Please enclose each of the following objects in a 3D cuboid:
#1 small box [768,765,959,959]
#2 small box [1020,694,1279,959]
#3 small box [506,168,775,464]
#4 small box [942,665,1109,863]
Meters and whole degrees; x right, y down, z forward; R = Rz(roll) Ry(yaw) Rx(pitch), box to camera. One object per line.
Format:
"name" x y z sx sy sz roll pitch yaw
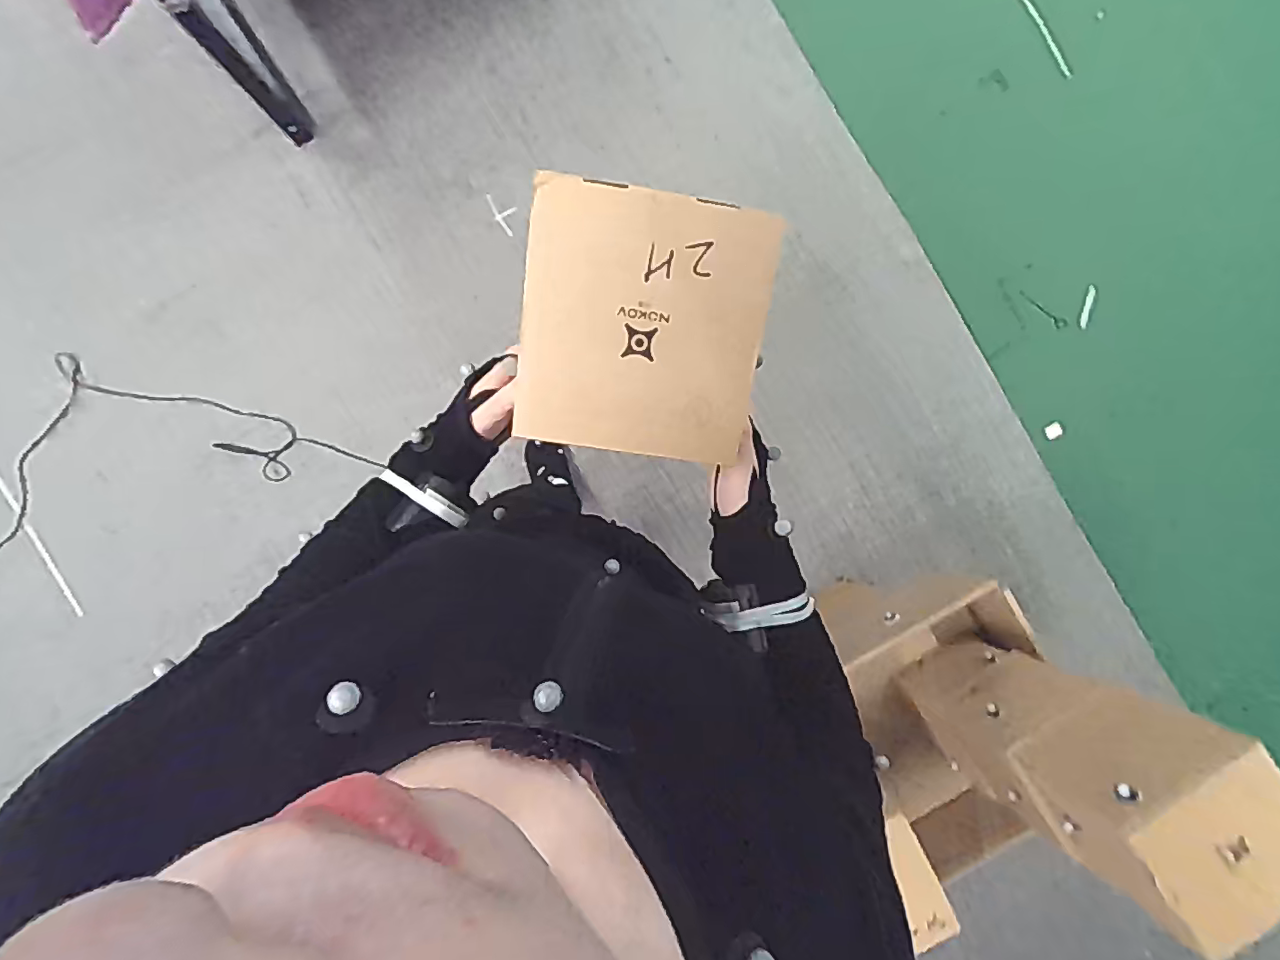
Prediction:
"small box" 0.310 0.553 0.791 0.168 0.176 0.179 -26 89 -1
"small box" 0.613 0.390 0.640 0.179 0.176 0.168 -34 90 -1
"small box" -0.007 -0.127 0.445 0.168 0.176 0.179 7 106 -5
"small box" 0.596 0.398 0.802 0.168 0.176 0.179 -32 91 -1
